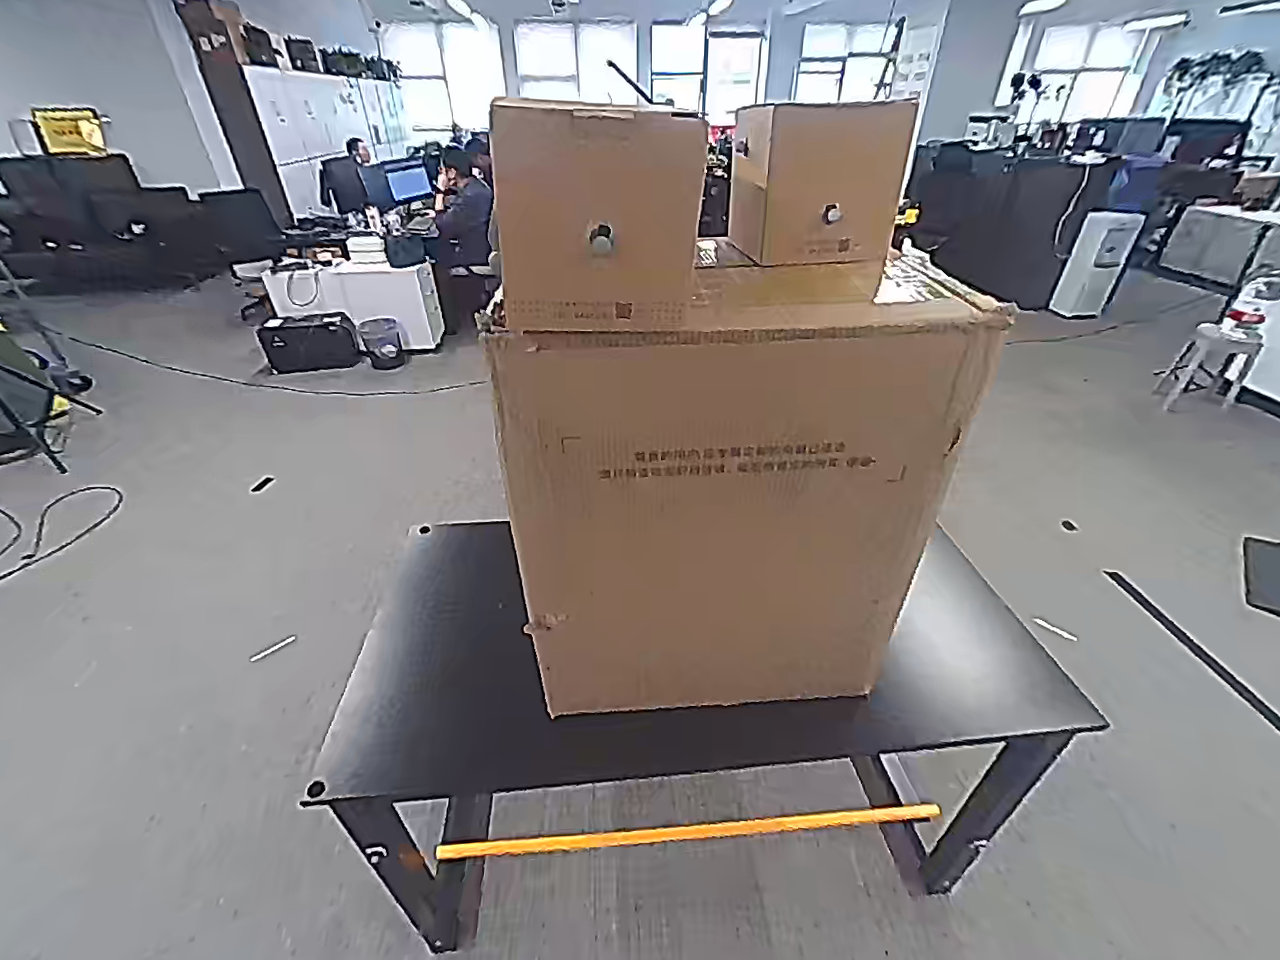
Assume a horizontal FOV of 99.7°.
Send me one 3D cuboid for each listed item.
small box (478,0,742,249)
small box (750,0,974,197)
[{"bbox_3d":[-0.029,-0.290,0.425,0.168,0.176,0.179,-3,38,-9],"label":"small box"},{"bbox_3d":[0.231,-0.427,0.620,0.168,0.176,0.179,-5,33,-4],"label":"small box"}]
